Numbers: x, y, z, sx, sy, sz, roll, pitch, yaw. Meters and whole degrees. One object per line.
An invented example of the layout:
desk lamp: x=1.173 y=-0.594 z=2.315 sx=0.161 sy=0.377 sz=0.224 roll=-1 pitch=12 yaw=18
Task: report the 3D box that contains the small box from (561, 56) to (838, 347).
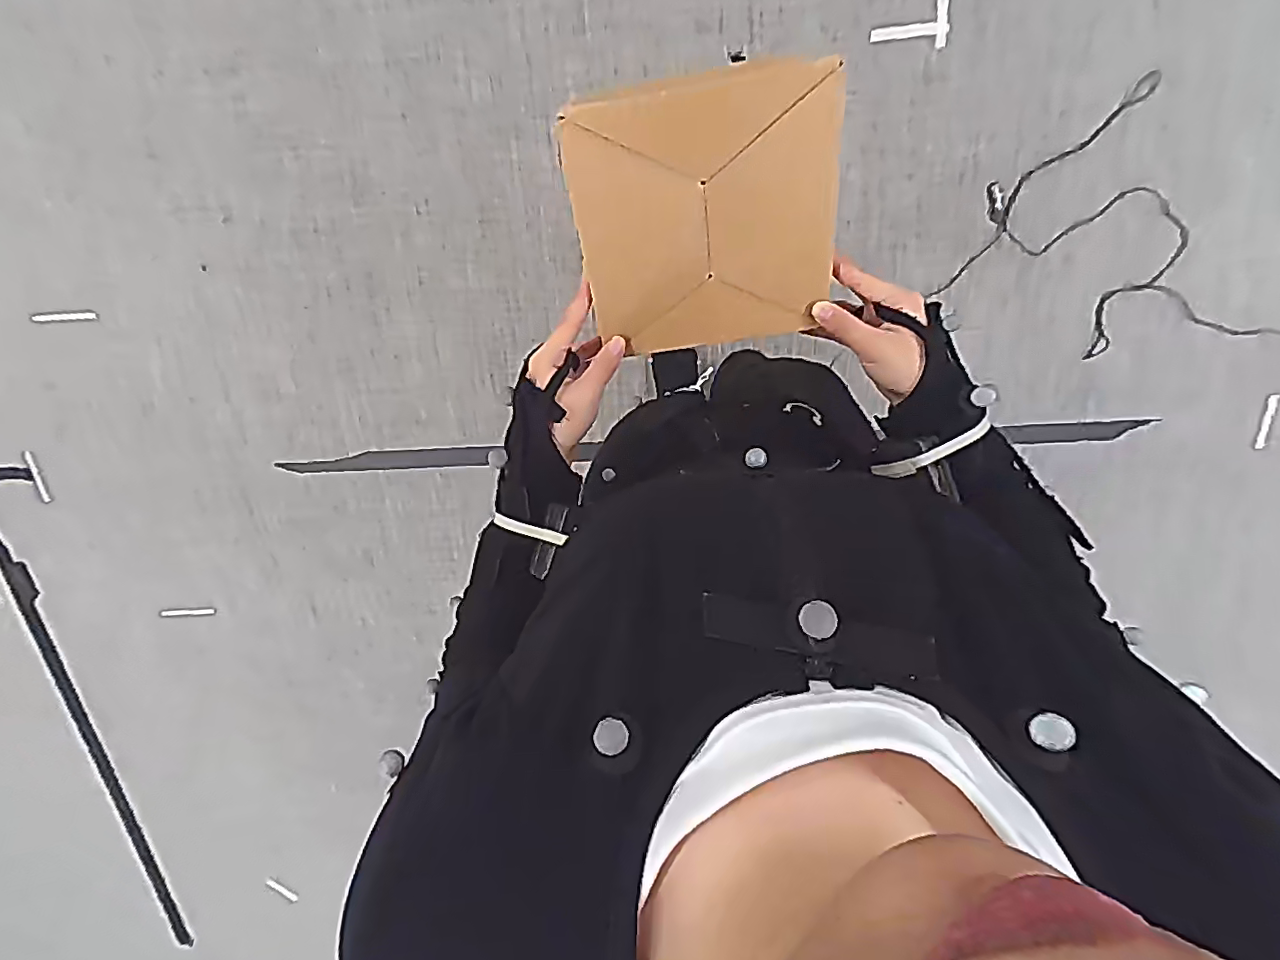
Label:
small box: x=0.041 y=-0.223 z=0.435 sx=0.179 sy=0.176 sz=0.168 roll=-7 pitch=130 yaw=4
